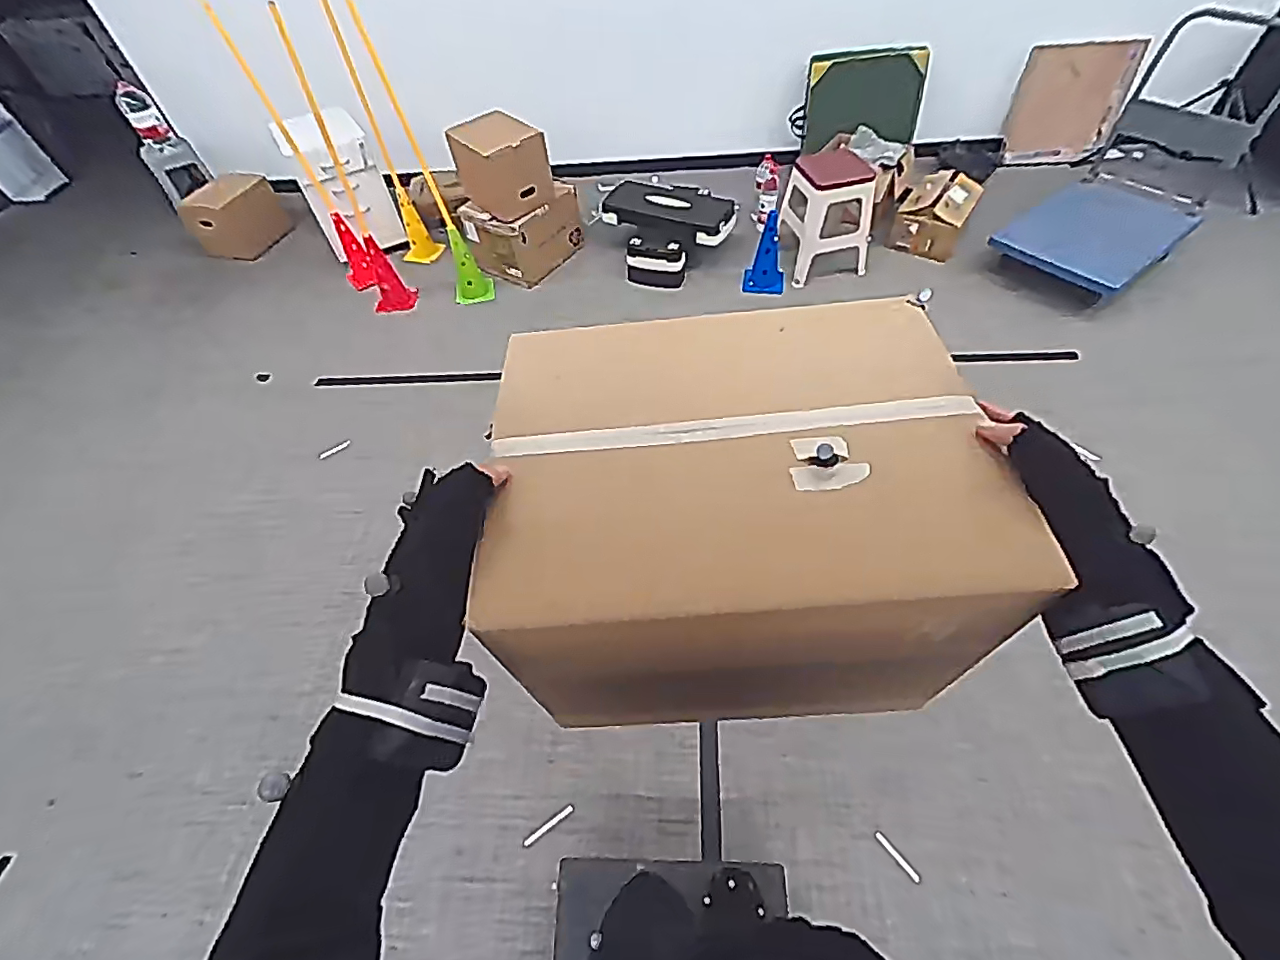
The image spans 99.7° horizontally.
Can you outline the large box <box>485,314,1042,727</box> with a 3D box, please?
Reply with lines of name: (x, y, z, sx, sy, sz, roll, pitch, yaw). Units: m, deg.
large box: (0.087, 0.057, 0.587, 0.408, 0.320, 0.320, -5, 54, 2)
